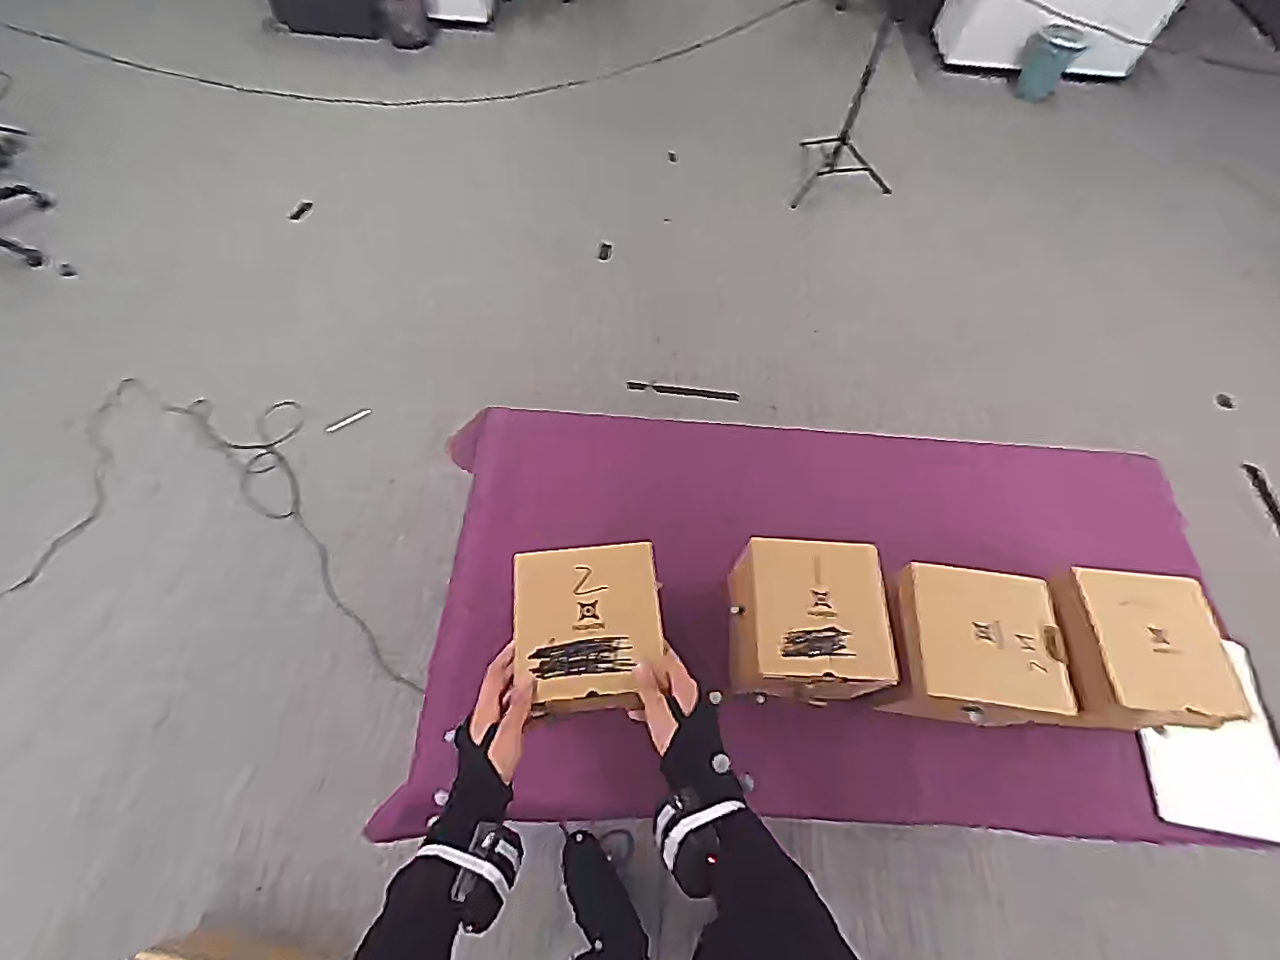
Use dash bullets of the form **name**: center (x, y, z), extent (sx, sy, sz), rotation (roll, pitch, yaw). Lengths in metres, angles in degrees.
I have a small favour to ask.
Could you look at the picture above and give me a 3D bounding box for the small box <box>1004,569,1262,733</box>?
- **small box**: center (0.639, 0.238, 0.732), extent (0.168, 0.176, 0.179), rotation (6, 61, 0)
